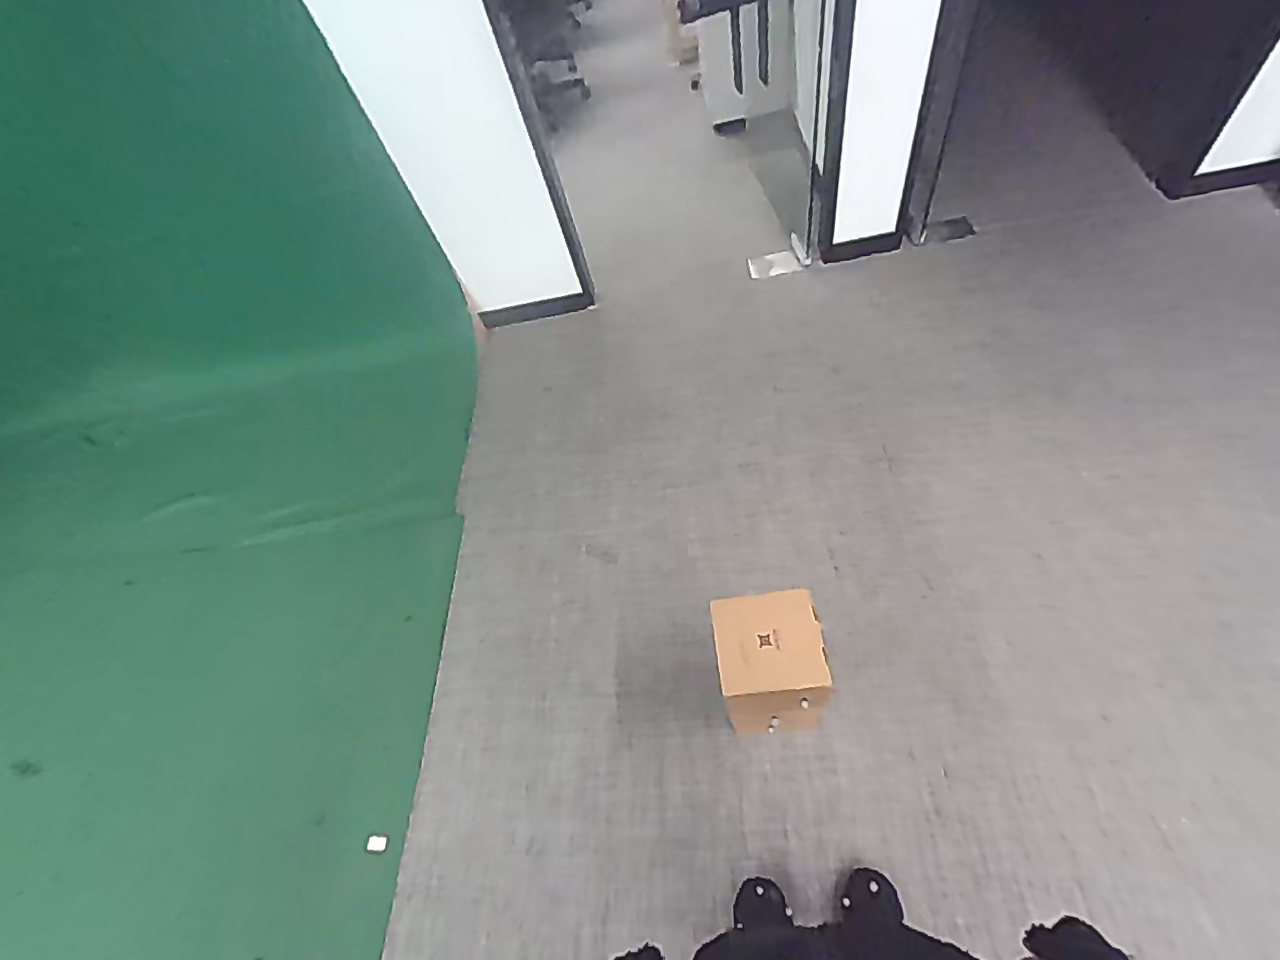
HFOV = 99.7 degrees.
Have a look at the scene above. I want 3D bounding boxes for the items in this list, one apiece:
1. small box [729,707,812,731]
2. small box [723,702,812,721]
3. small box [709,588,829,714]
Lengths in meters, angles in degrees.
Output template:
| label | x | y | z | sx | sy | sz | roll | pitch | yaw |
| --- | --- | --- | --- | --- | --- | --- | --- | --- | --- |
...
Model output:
| label | x | y | z | sx | sy | sz | roll | pitch | yaw |
| --- | --- | --- | --- | --- | --- | --- | --- | --- | --- |
| small box | 0.288 | 0.474 | 1.247 | 0.179 | 0.176 | 0.168 | -8 | 55 | 9 |
| small box | 0.252 | 0.389 | 1.112 | 0.179 | 0.176 | 0.168 | -10 | 55 | 7 |
| small box | 0.227 | 0.311 | 0.971 | 0.179 | 0.176 | 0.168 | -10 | 54 | 9 |
